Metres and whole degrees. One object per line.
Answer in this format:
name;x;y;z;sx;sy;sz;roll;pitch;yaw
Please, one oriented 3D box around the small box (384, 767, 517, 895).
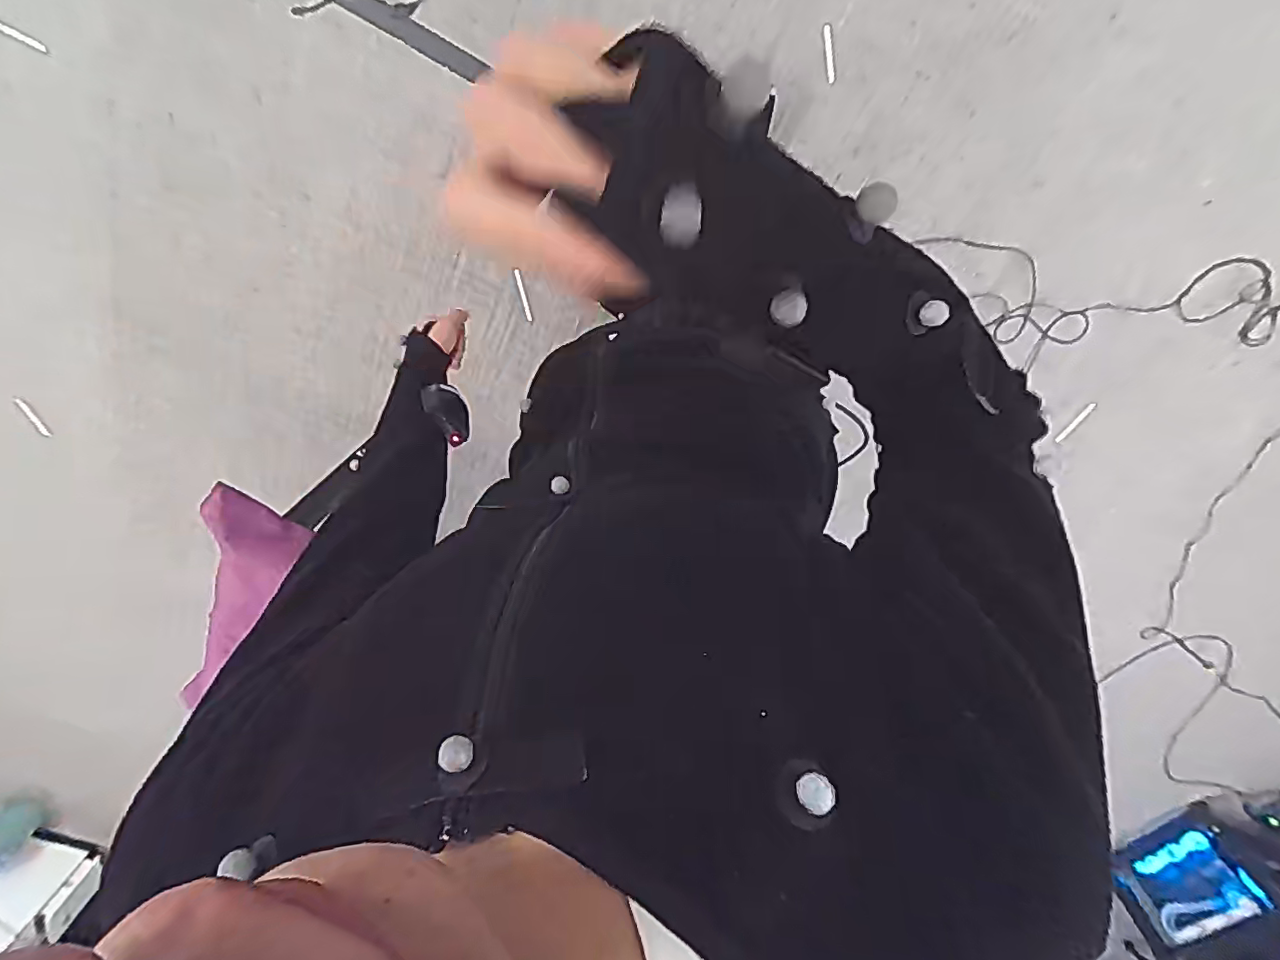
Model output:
small box;-0.352;0.681;1.029;0.179;0.176;0.168;23;118;-9
